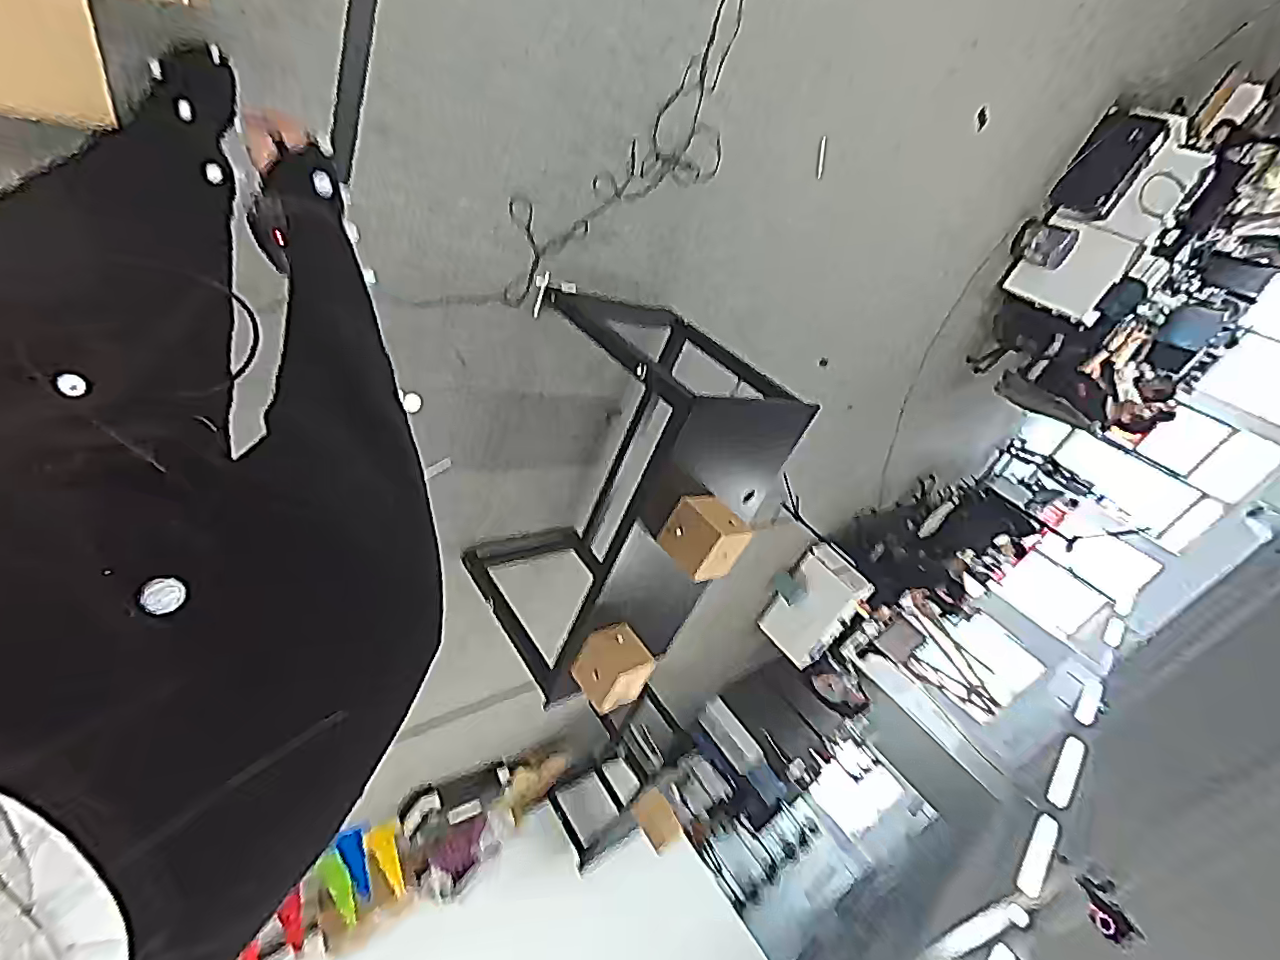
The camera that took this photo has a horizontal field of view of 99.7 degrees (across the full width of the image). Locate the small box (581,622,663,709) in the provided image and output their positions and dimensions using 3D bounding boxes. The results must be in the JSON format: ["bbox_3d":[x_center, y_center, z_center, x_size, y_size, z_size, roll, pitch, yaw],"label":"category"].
[{"bbox_3d":[-0.064,0.588,1.728,0.168,0.176,0.179,-4,128,-46],"label":"small box"}]

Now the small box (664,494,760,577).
[{"bbox_3d":[0.203,0.151,1.545,0.179,0.176,0.168,1,125,-48],"label":"small box"}]
